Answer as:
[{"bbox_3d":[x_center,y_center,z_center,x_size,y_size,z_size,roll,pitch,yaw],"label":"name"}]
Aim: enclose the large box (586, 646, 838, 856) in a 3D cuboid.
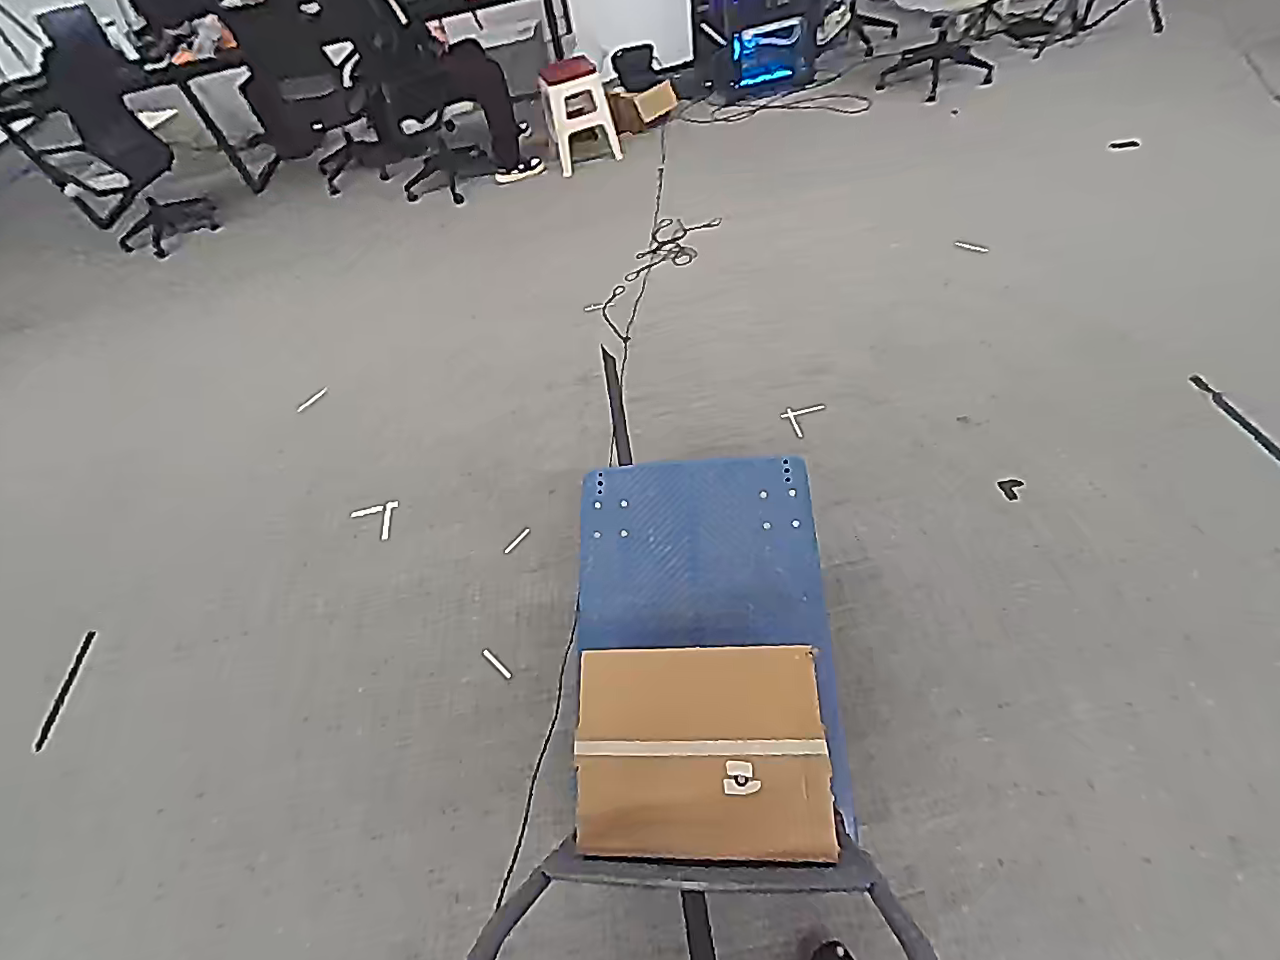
[{"bbox_3d":[0.122,0.504,1.041,0.408,0.320,0.320,-4,68,7],"label":"large box"}]
